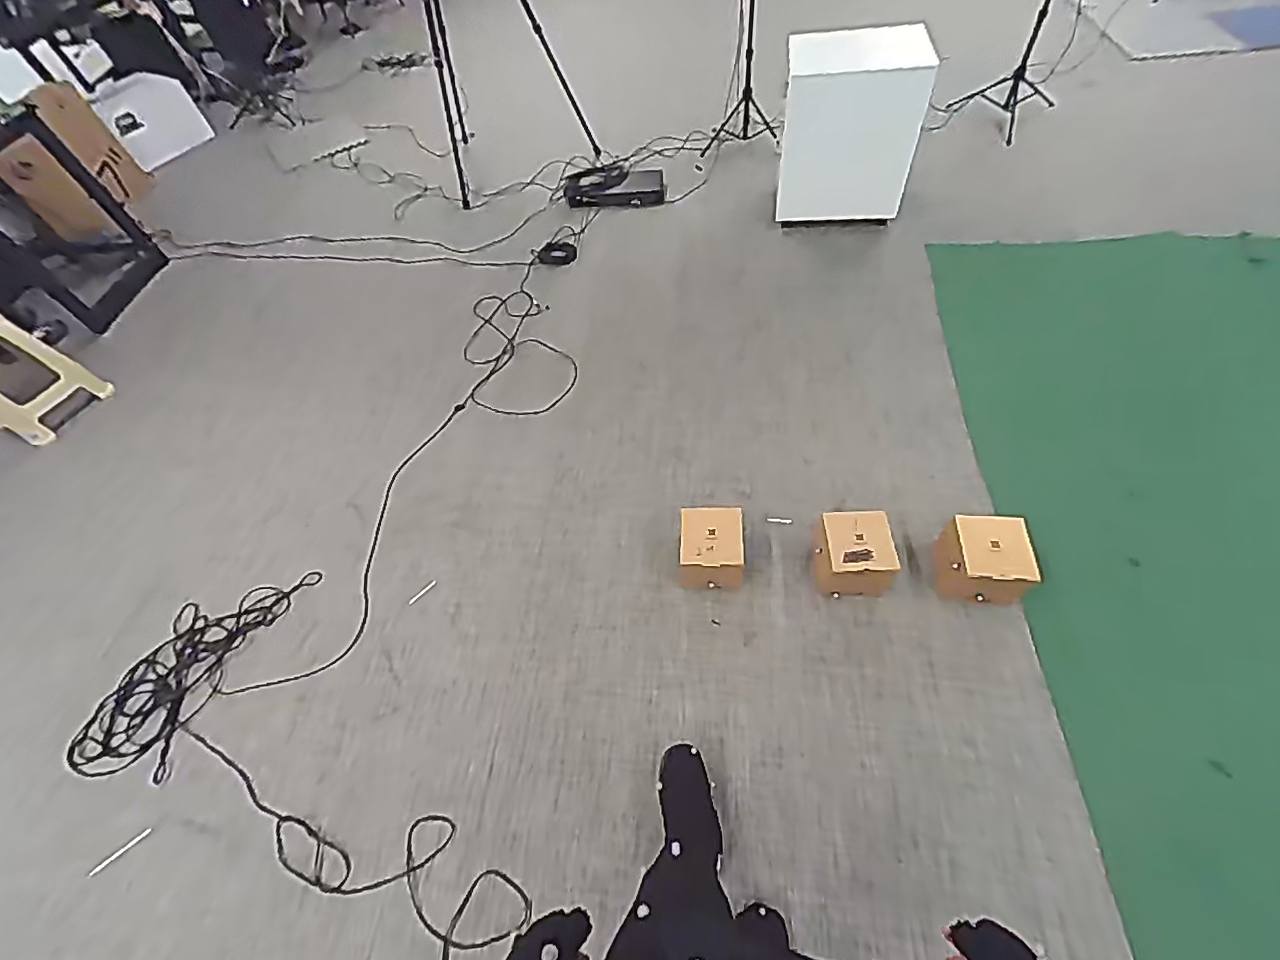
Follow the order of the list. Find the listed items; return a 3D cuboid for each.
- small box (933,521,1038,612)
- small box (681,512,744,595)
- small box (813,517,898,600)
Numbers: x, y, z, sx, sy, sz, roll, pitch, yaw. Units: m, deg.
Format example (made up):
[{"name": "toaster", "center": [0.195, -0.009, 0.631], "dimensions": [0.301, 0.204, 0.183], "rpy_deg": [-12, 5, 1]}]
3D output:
[{"name": "small box", "center": [0.895, 0.228, 1.420], "dimensions": [0.168, 0.176, 0.179], "rpy_deg": [2, 56, 9]}, {"name": "small box", "center": [0.202, 0.206, 1.514], "dimensions": [0.168, 0.176, 0.179], "rpy_deg": [0, 56, 8]}, {"name": "small box", "center": [0.574, 0.218, 1.464], "dimensions": [0.168, 0.176, 0.179], "rpy_deg": [-2, 55, 5]}]
